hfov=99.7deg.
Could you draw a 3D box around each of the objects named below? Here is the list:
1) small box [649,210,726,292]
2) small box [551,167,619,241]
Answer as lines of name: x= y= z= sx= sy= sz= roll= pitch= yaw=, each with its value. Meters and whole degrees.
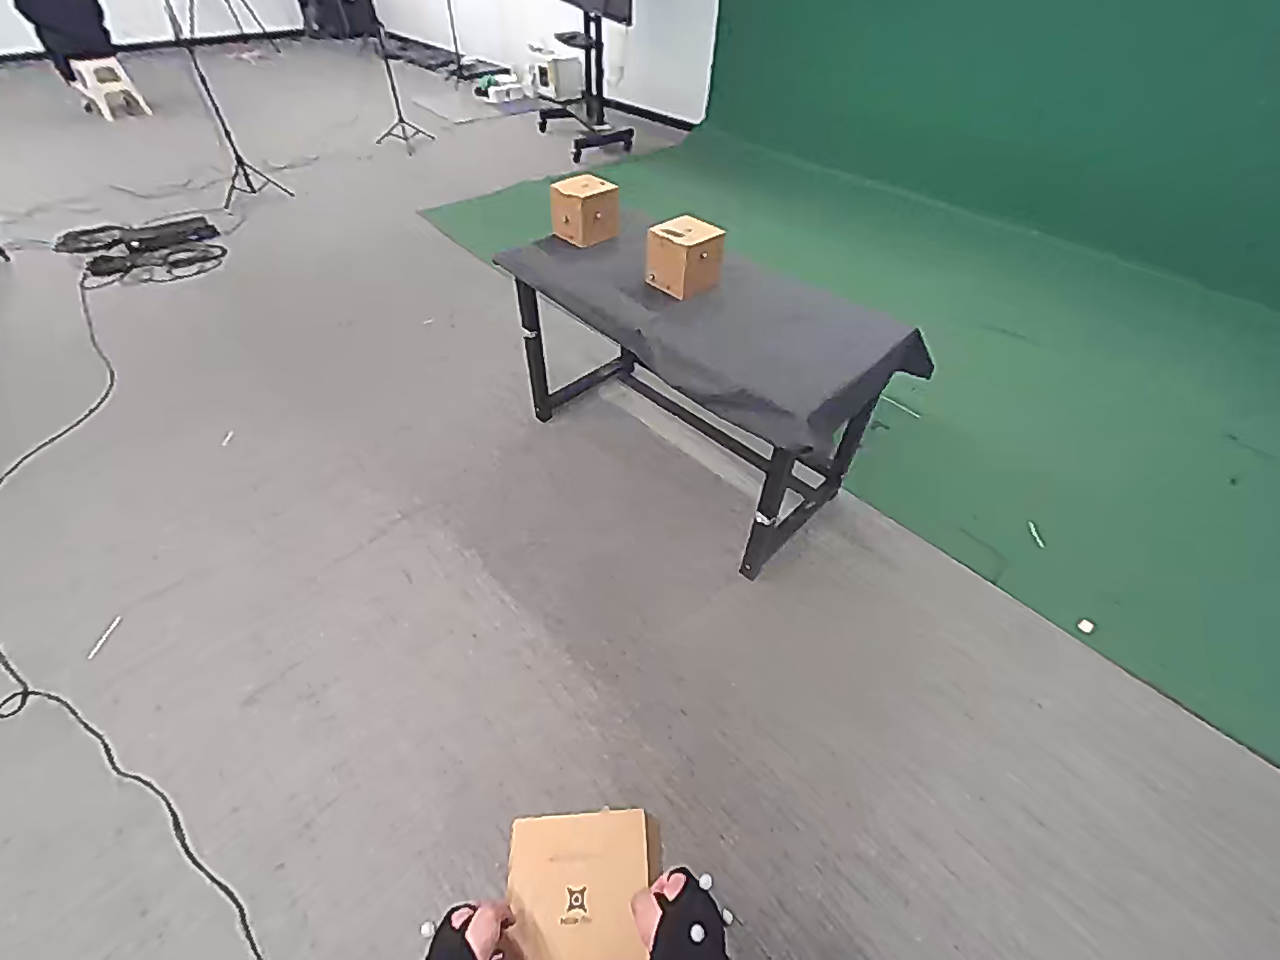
small box: x=0.142 y=-0.705 z=1.668 sx=0.179 sy=0.176 sz=0.168 roll=-33 pitch=57 yaw=-29
small box: x=-0.186 y=-0.964 z=1.892 sx=0.179 sy=0.176 sz=0.168 roll=-36 pitch=60 yaw=-29
